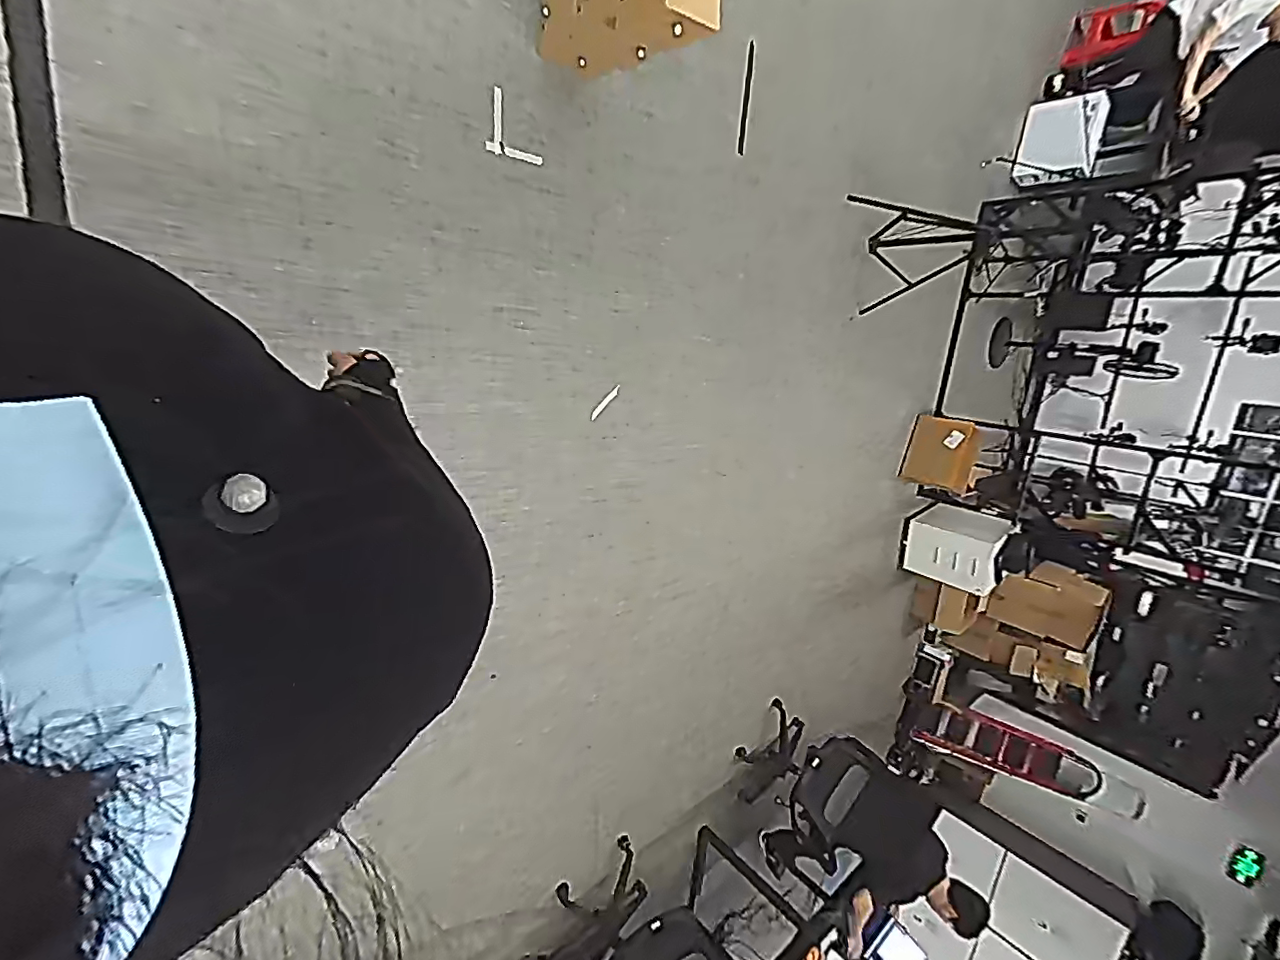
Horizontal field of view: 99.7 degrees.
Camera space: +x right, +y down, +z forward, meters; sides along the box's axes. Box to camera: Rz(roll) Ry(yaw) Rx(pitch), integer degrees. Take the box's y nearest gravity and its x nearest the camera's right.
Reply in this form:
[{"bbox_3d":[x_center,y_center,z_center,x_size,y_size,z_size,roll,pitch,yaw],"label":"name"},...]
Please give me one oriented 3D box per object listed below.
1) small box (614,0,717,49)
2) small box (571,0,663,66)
[{"bbox_3d":[0.060,-1.119,1.230,0.179,0.176,0.168,-15,114,-38],"label":"small box"},{"bbox_3d":[-0.046,-1.172,1.343,0.179,0.176,0.168,-1,104,-42],"label":"small box"}]
